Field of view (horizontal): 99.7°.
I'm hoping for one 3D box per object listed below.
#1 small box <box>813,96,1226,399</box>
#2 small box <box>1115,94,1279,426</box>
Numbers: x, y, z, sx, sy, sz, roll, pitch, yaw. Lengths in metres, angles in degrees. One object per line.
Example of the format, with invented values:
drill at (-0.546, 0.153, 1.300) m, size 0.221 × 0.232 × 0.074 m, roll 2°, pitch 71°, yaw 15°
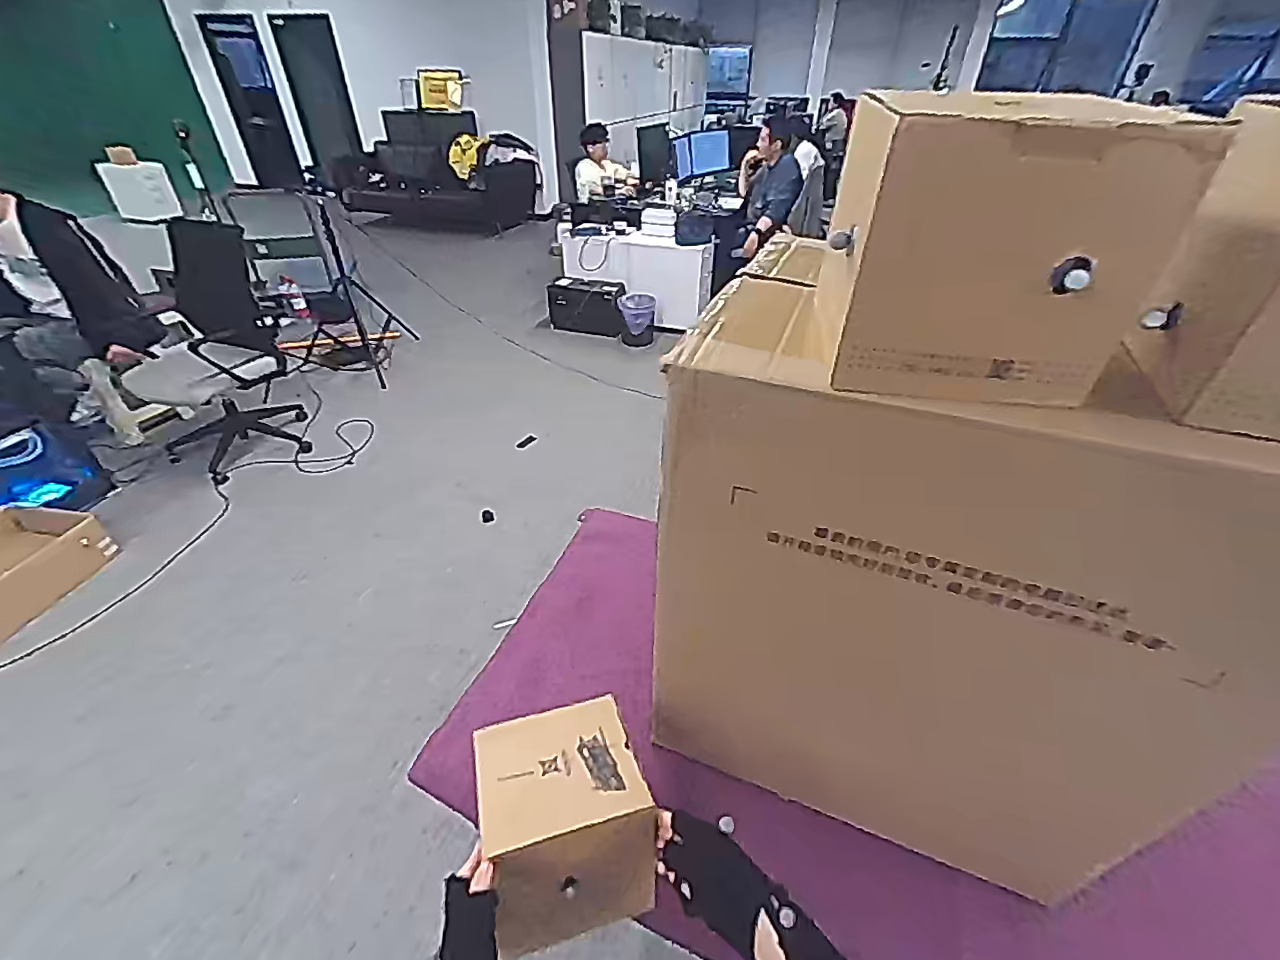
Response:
small box at (0.232, -0.174, 0.397) m, size 0.168 × 0.176 × 0.179 m, roll 7°, pitch 38°, yaw 7°
small box at (0.454, -0.134, 0.340) m, size 0.168 × 0.176 × 0.179 m, roll 14°, pitch 41°, yaw 18°
